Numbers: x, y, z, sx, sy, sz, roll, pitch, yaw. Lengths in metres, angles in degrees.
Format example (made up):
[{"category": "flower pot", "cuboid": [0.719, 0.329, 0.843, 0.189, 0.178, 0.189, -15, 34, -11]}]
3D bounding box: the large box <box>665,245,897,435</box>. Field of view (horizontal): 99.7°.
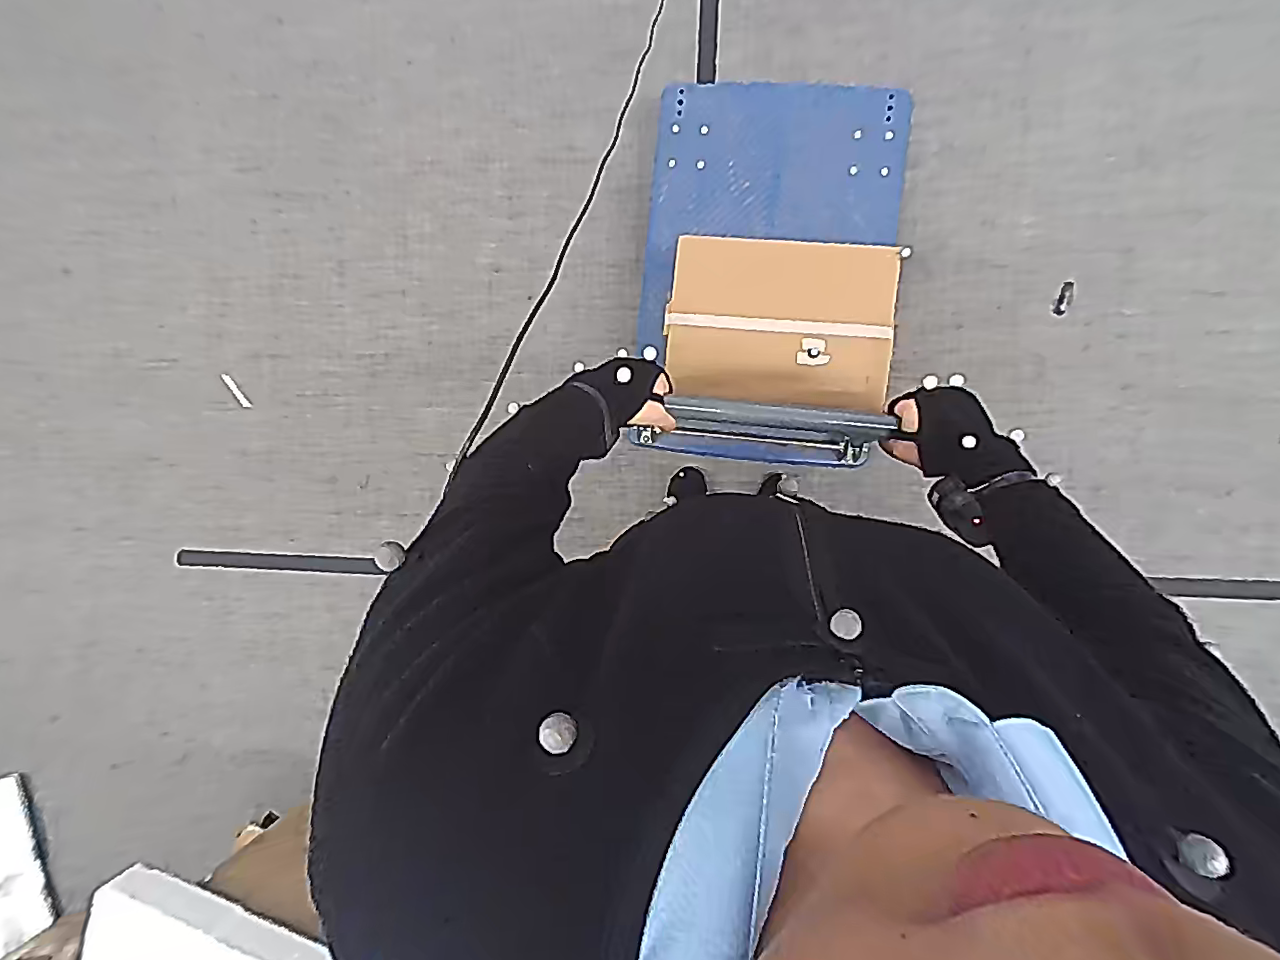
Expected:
[{"category": "large box", "cuboid": [0.268, -0.273, 1.145, 0.408, 0.320, 0.320, 6, 93, 6]}]
